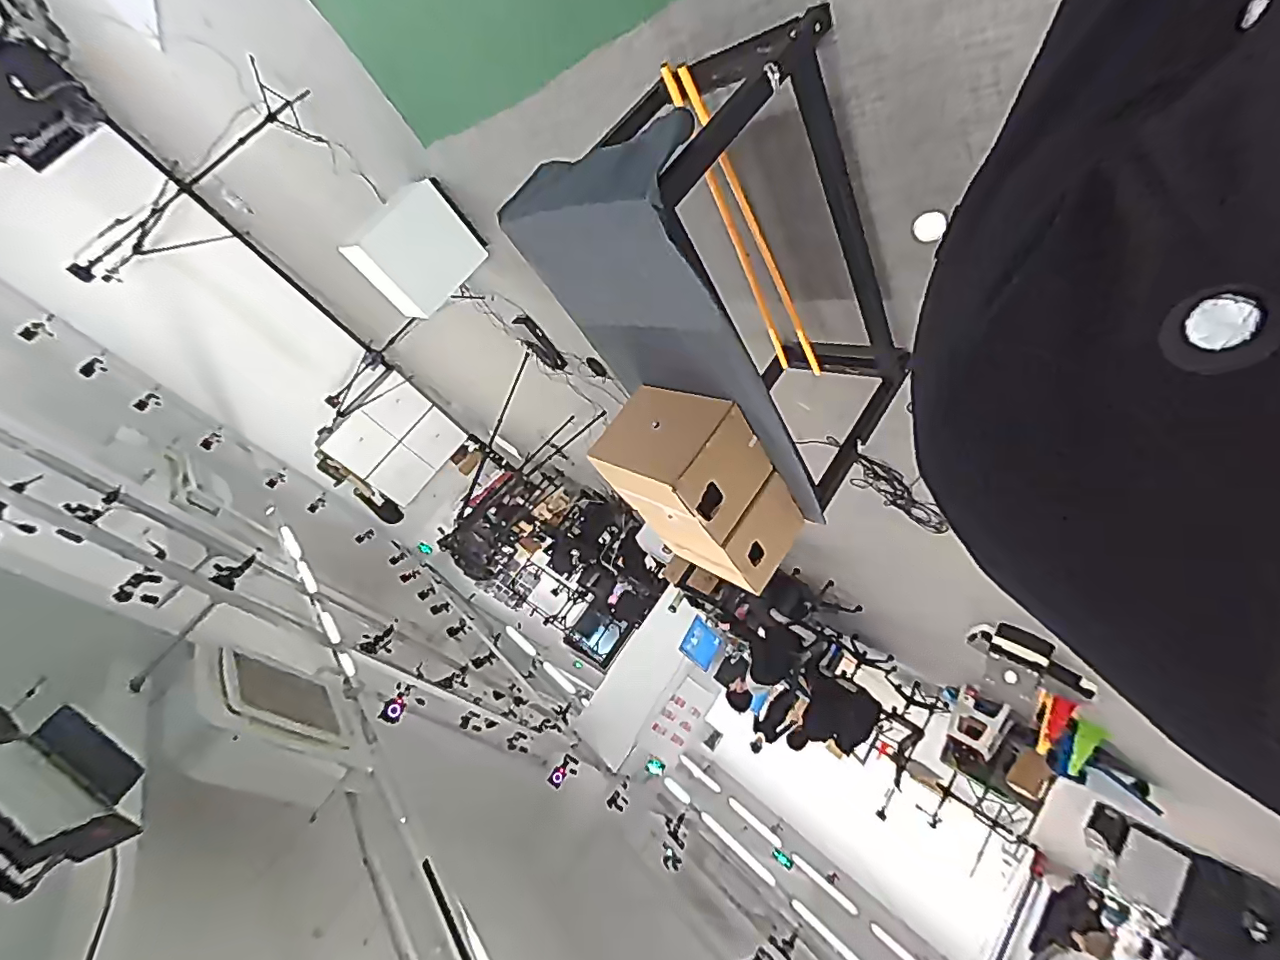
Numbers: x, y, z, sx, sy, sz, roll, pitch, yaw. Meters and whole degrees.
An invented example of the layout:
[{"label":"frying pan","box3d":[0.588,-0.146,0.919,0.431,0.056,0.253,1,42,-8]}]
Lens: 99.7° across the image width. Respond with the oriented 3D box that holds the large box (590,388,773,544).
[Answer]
[{"label":"large box","box3d":[0.128,-0.060,1.671,0.408,0.320,0.320,19,157,48]}]
